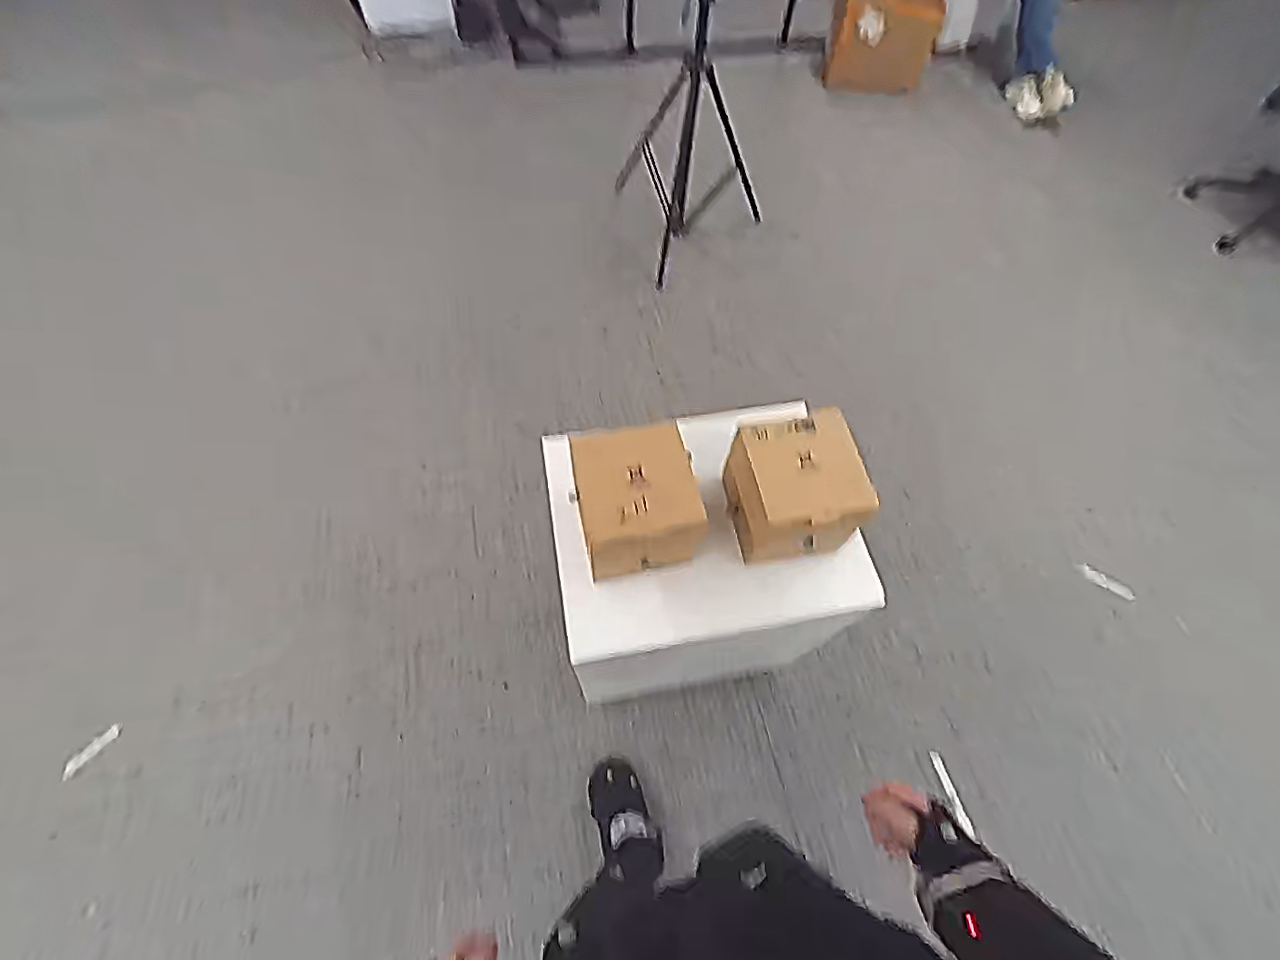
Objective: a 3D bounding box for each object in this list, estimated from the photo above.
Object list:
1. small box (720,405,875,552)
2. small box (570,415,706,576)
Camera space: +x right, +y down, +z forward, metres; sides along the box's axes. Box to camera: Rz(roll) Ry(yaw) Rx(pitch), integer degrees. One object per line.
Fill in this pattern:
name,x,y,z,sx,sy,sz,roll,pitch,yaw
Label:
small box,0.236,0.006,0.858,0.168,0.176,0.179,-7,64,-7
small box,-0.011,0.027,0.834,0.168,0.176,0.179,-11,63,-8
